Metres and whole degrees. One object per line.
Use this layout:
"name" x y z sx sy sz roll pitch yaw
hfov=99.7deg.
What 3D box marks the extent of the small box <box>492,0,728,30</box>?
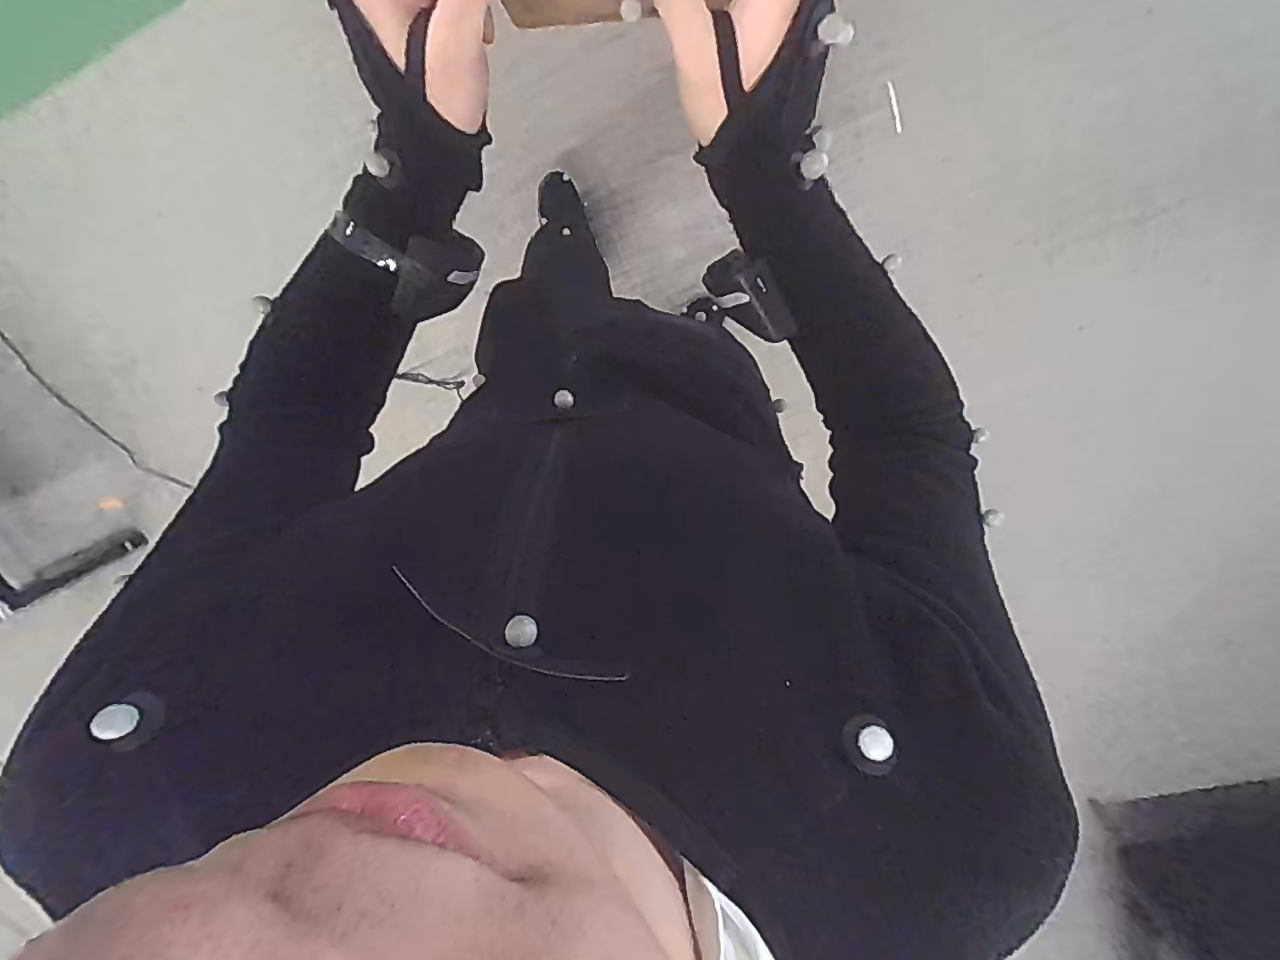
"small box" -0.019 -0.371 0.290 0.168 0.176 0.179 -6 119 1
